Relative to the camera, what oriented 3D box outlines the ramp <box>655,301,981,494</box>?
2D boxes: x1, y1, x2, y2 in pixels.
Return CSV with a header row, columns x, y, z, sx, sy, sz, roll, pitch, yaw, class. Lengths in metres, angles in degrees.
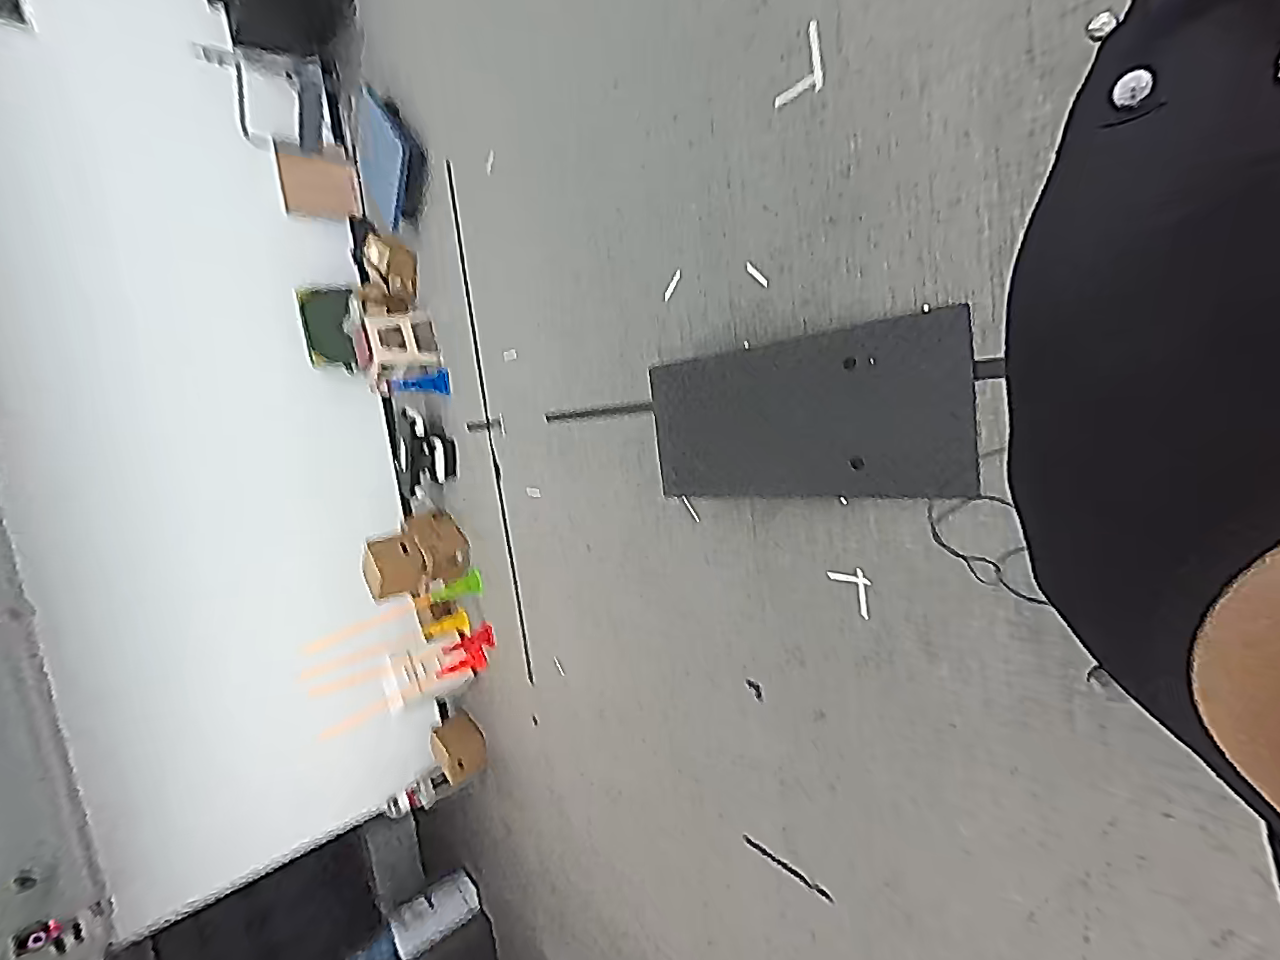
x,y,z,sx,sy,sz,roll,pitch,yaw,class
0.464,-0.200,1.674,0.991,0.206,0.509,-1,98,50,ramp
